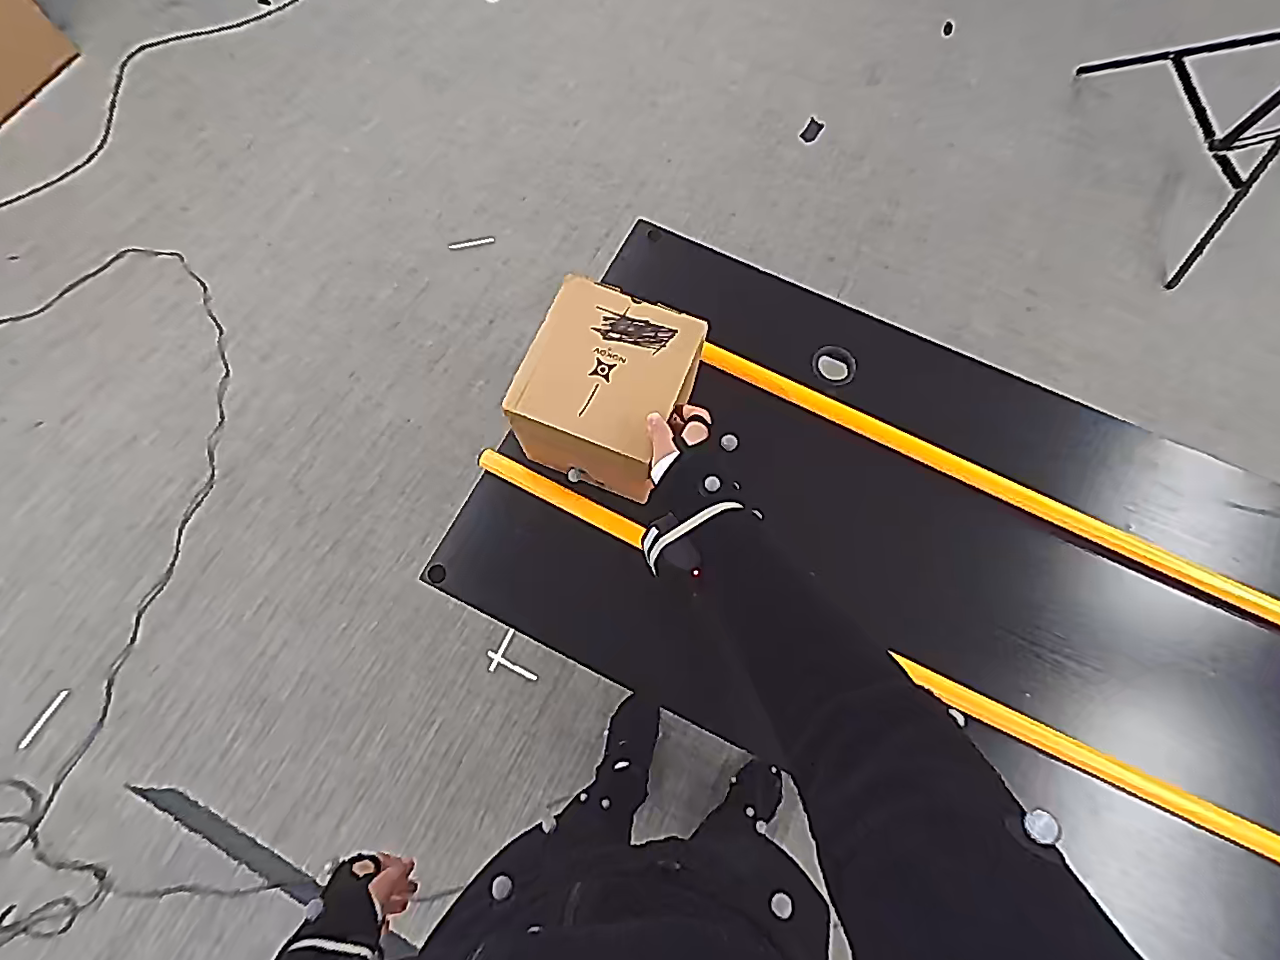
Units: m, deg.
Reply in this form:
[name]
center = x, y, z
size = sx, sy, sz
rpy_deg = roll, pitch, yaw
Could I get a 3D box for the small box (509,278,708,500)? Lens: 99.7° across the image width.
[small box]
center = -0.033, -0.098, 0.649
size = 0.168, 0.176, 0.179
rpy_deg = 21, 74, 5
